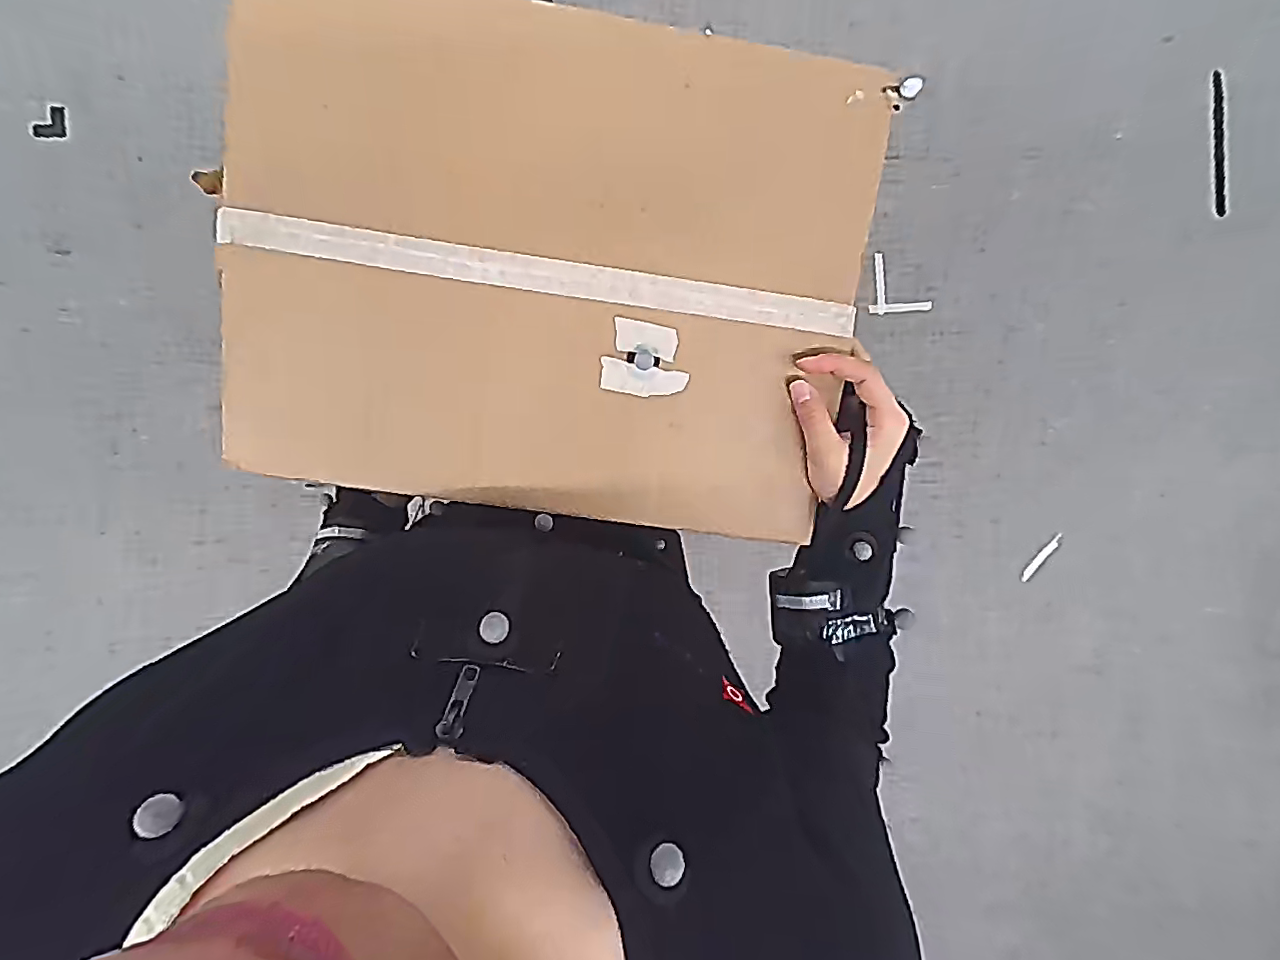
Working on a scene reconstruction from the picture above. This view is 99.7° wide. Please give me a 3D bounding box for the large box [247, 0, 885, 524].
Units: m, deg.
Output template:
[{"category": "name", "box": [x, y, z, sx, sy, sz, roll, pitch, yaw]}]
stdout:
[{"category": "large box", "box": [-0.063, -0.160, 0.507, 0.408, 0.320, 0.320, 7, 100, -5]}]
